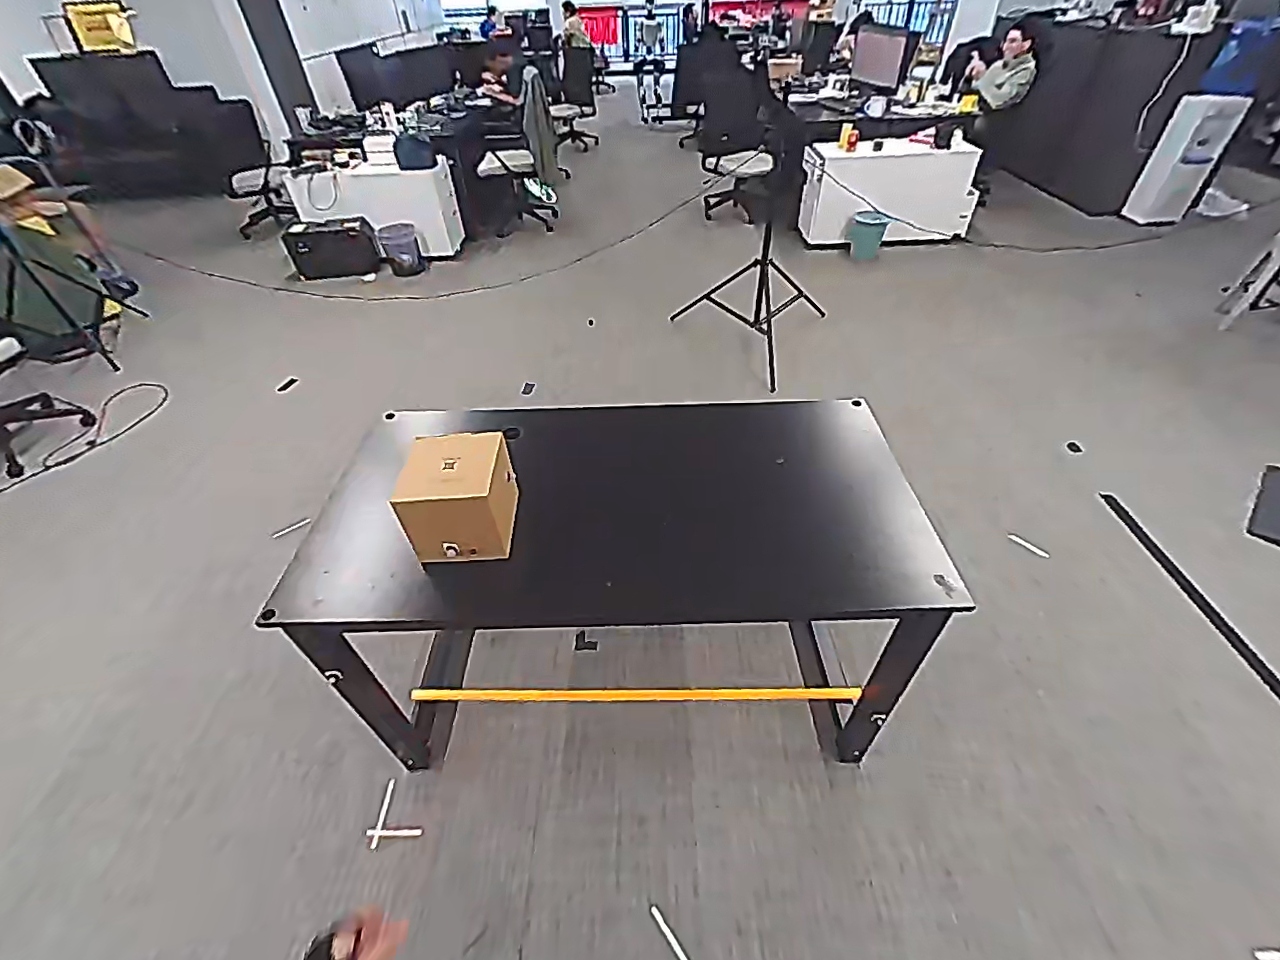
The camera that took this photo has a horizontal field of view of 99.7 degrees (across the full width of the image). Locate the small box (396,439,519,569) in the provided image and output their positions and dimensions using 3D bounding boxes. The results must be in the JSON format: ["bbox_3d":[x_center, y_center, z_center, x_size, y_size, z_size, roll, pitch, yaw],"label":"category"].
[{"bbox_3d":[-0.329,0.045,1.016,0.168,0.176,0.179,-5,43,-1],"label":"small box"}]
